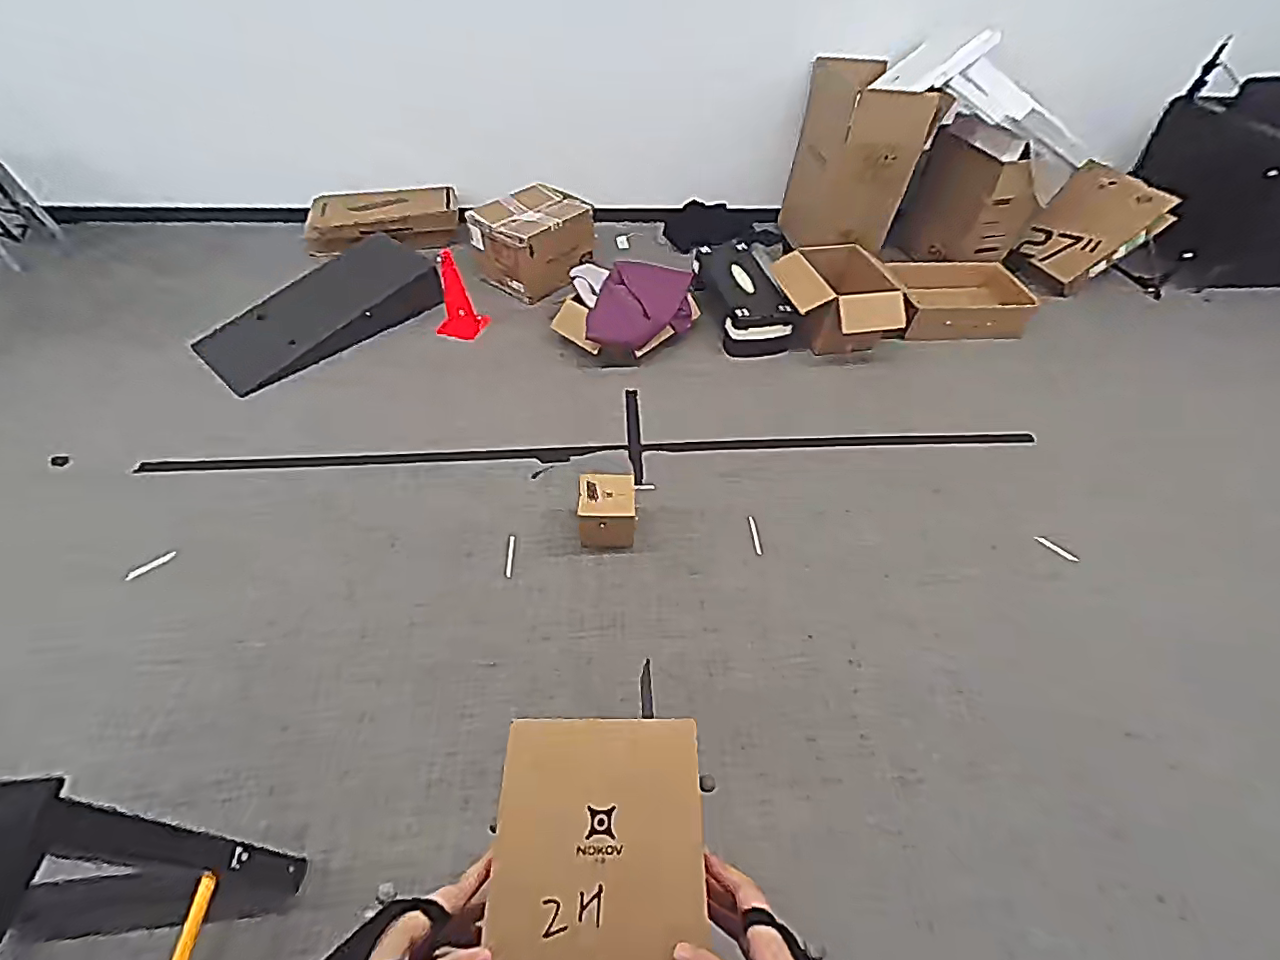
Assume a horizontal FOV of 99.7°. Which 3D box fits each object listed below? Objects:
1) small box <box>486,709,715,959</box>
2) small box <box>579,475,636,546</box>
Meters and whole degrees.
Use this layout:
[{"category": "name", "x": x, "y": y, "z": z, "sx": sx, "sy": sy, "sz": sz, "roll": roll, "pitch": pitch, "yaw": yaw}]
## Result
[{"category": "small box", "x": -0.027, "y": 0.325, "z": 0.494, "sx": 0.168, "sy": 0.176, "sz": 0.179, "roll": -1, "pitch": 52, "yaw": 0}, {"category": "small box", "x": -0.101, "y": 0.100, "z": 1.739, "sx": 0.179, "sy": 0.176, "sz": 0.168, "roll": 1, "pitch": 50, "yaw": -3}]
